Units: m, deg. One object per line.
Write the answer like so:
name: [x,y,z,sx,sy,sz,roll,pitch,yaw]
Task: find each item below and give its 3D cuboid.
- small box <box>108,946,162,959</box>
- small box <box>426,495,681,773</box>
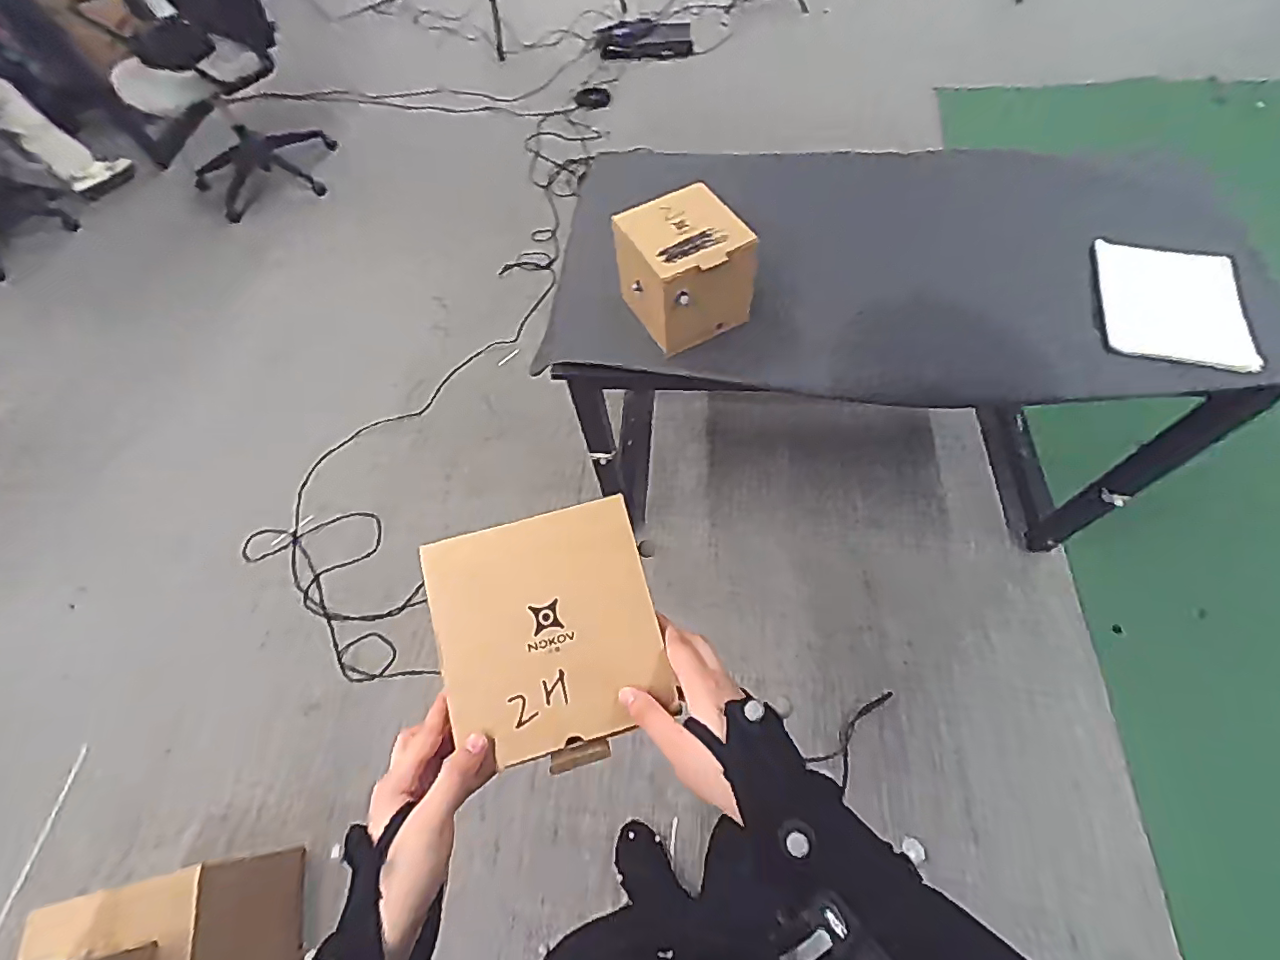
small box: [-0.888,0.862,0.826,0.168,0.176,0.179,-14,60,-3]
small box: [-0.072,0.132,0.493,0.168,0.176,0.179,-16,77,-5]
